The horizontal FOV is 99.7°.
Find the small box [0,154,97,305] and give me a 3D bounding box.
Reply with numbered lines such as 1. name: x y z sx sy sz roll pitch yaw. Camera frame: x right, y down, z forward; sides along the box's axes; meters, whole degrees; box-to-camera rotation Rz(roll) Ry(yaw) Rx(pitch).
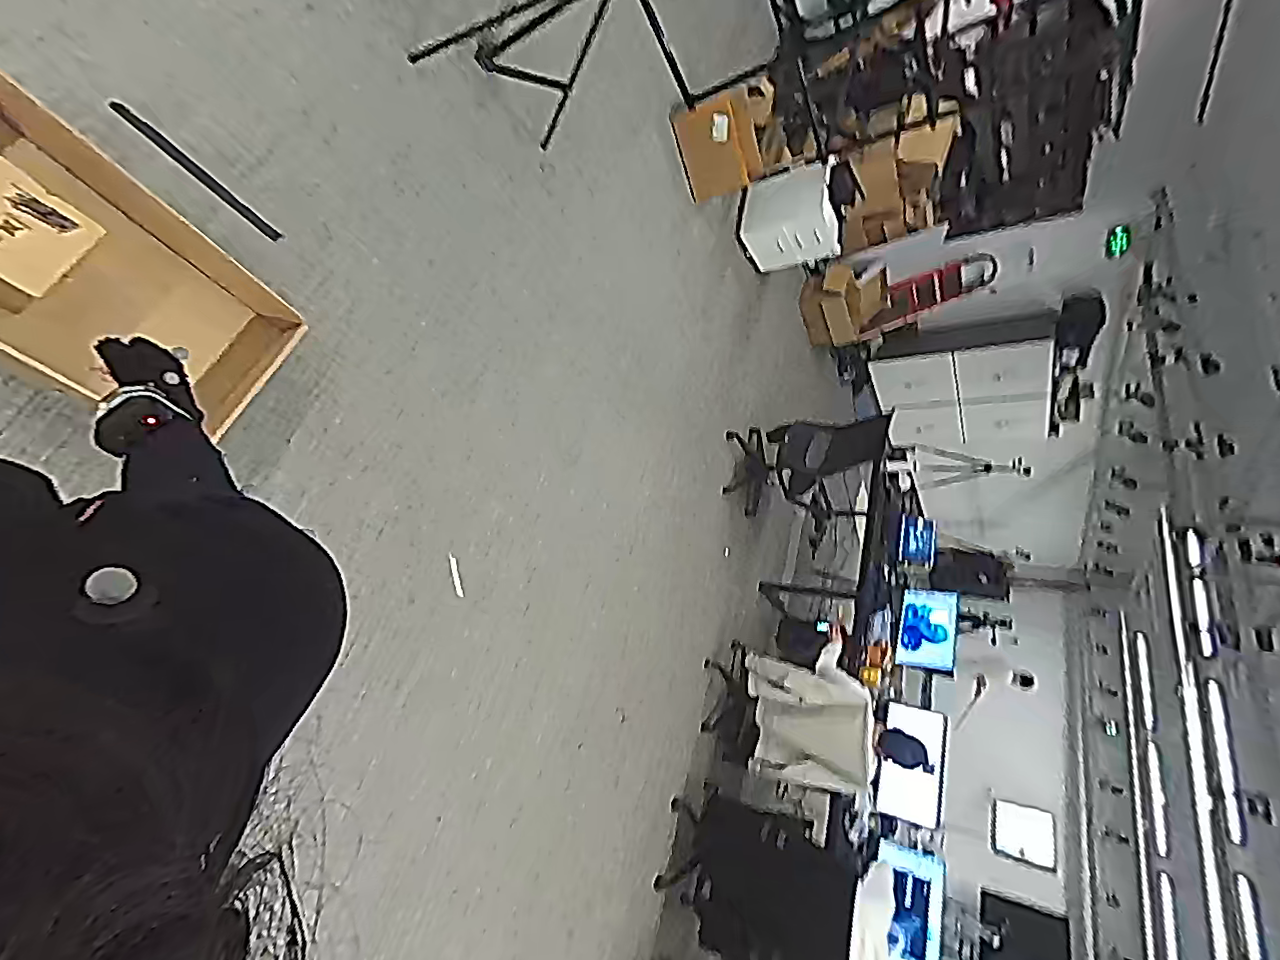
1. small box: -1.112 -0.431 0.929 0.168 0.176 0.179 47 53 -46
